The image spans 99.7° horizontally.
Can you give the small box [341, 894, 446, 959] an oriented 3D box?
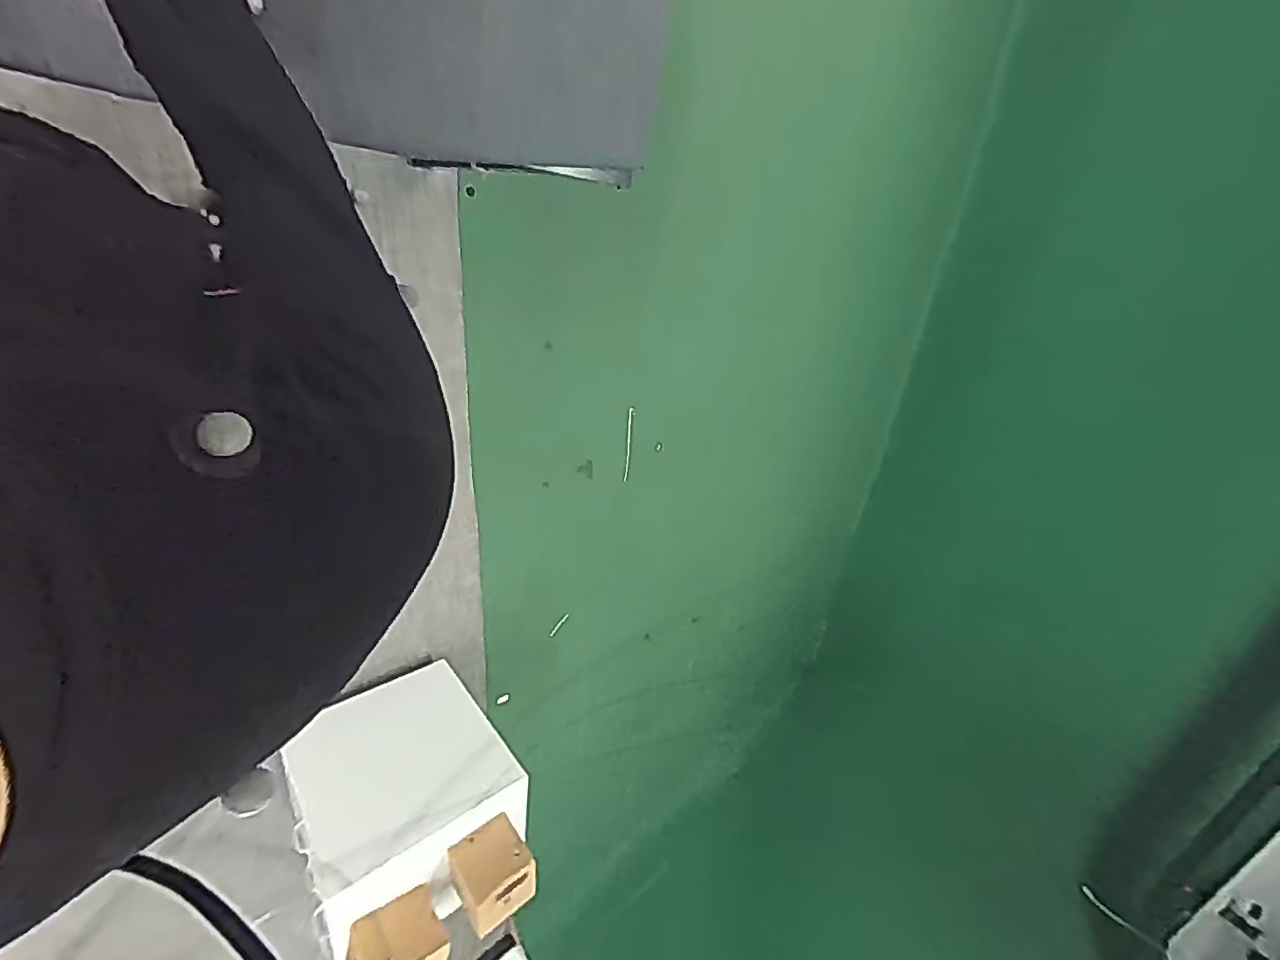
[{"bbox_3d":[-0.599,1.162,1.304,0.179,0.176,0.168,0,112,-46],"label":"small box"}]
